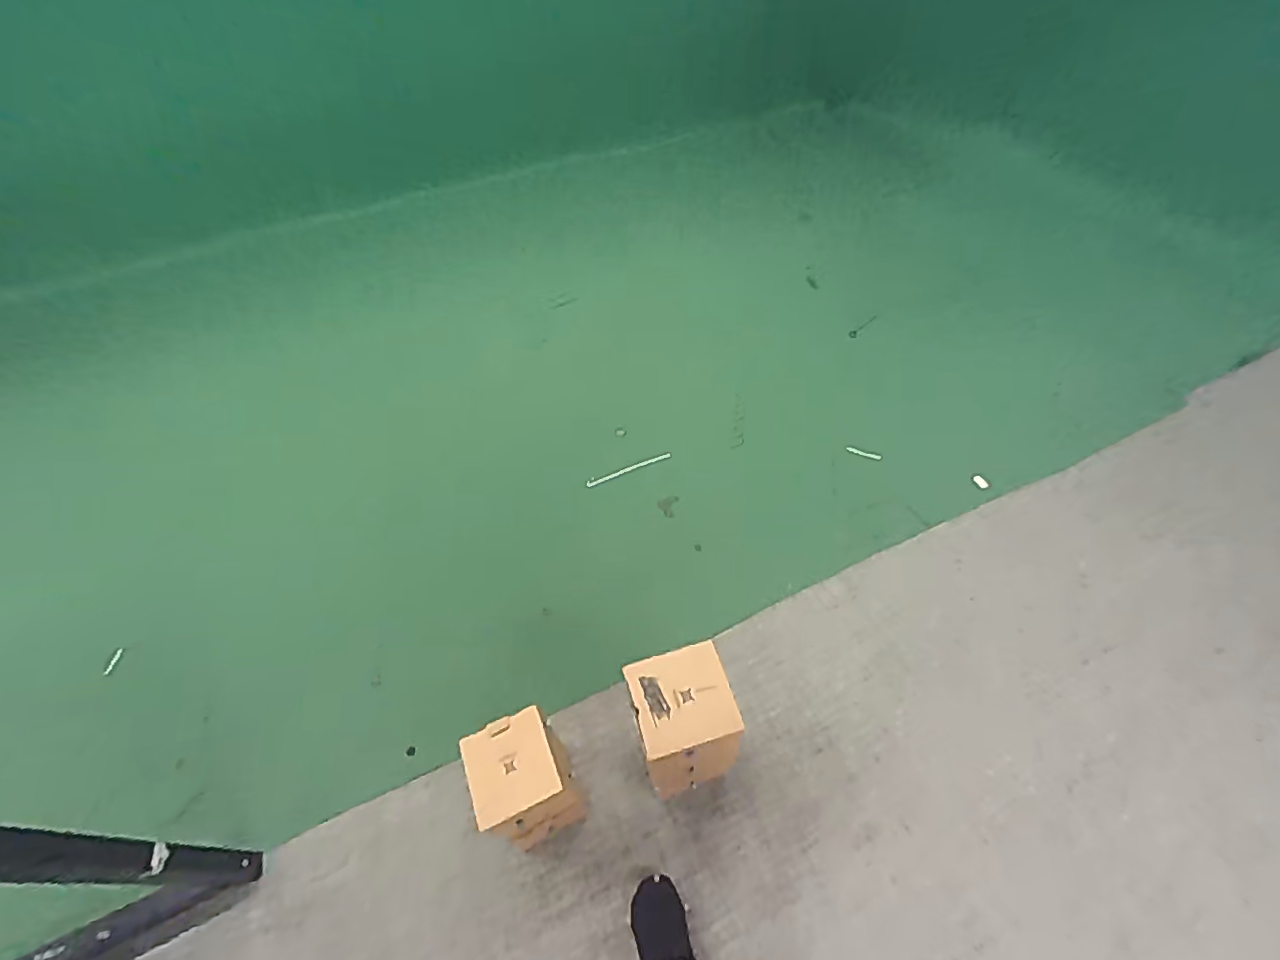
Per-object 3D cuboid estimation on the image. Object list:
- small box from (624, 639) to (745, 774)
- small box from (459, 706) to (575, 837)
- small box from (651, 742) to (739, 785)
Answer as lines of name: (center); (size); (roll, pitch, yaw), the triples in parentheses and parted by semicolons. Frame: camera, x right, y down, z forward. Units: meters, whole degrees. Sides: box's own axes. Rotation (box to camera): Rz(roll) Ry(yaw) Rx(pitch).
small box: (0.079, 0.425, 1.003); (0.179, 0.176, 0.168); (-15, 53, -8)
small box: (-0.244, 0.599, 1.101); (0.168, 0.176, 0.179); (-23, 53, -12)
small box: (0.094, 0.521, 1.135); (0.179, 0.176, 0.168); (-13, 54, -6)
